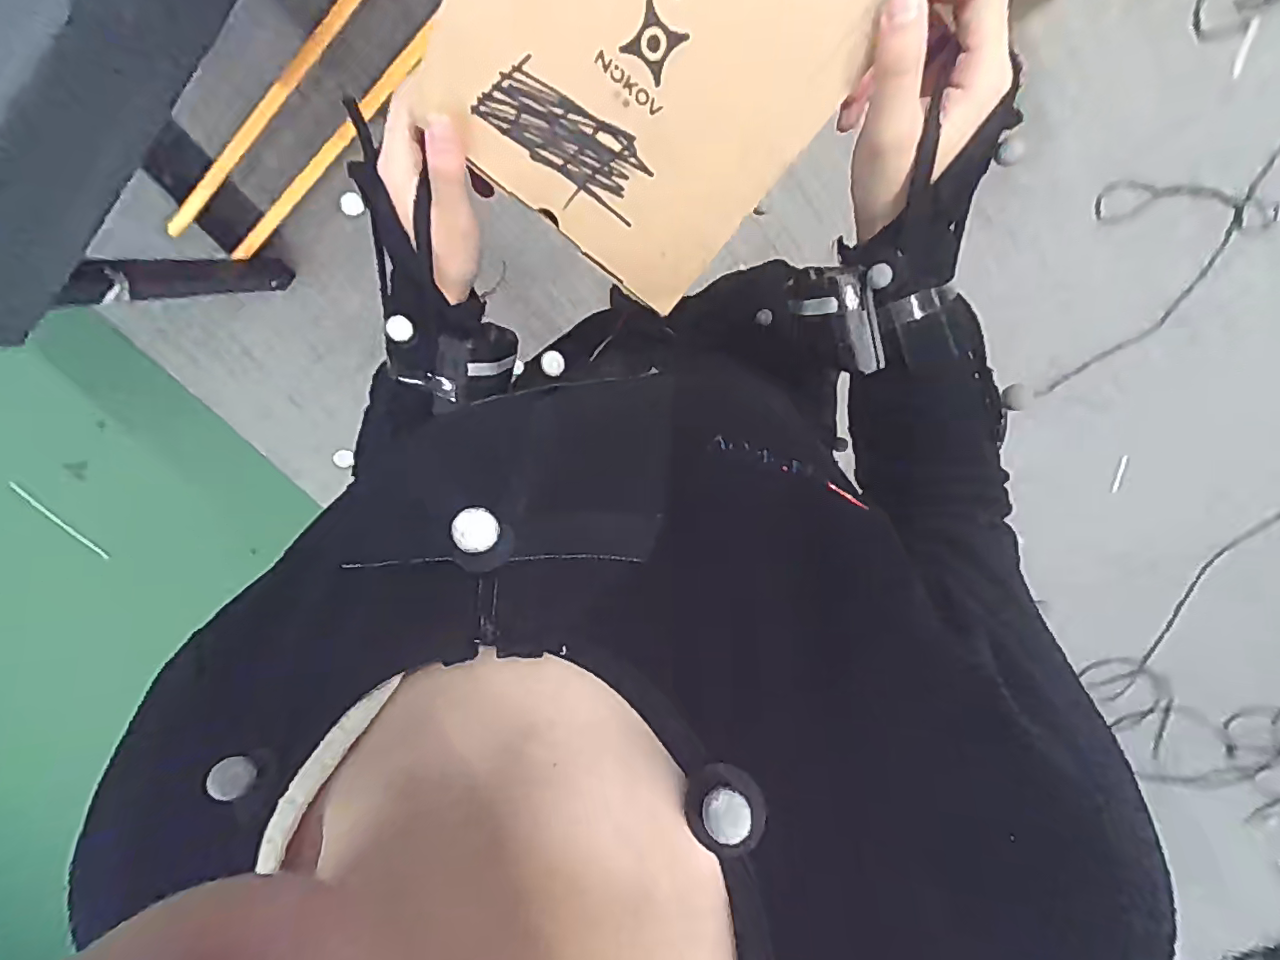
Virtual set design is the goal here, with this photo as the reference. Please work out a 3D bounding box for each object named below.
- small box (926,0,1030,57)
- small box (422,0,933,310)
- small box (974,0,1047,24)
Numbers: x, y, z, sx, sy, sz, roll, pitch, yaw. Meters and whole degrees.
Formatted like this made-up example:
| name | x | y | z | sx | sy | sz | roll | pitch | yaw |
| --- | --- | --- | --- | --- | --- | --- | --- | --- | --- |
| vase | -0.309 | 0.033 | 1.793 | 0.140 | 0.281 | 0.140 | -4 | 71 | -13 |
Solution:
| name | x | y | z | sx | sy | sz | roll | pitch | yaw |
| --- | --- | --- | --- | --- | --- | --- | --- | --- | --- |
| small box | 0.600 | -0.871 | 0.922 | 0.168 | 0.176 | 0.179 | -35 | 107 | 16 |
| small box | 0.018 | -0.237 | 0.303 | 0.168 | 0.176 | 0.179 | 35 | 125 | -17 |
| small box | 0.585 | -0.809 | 0.773 | 0.168 | 0.176 | 0.179 | -38 | 104 | 16 |
